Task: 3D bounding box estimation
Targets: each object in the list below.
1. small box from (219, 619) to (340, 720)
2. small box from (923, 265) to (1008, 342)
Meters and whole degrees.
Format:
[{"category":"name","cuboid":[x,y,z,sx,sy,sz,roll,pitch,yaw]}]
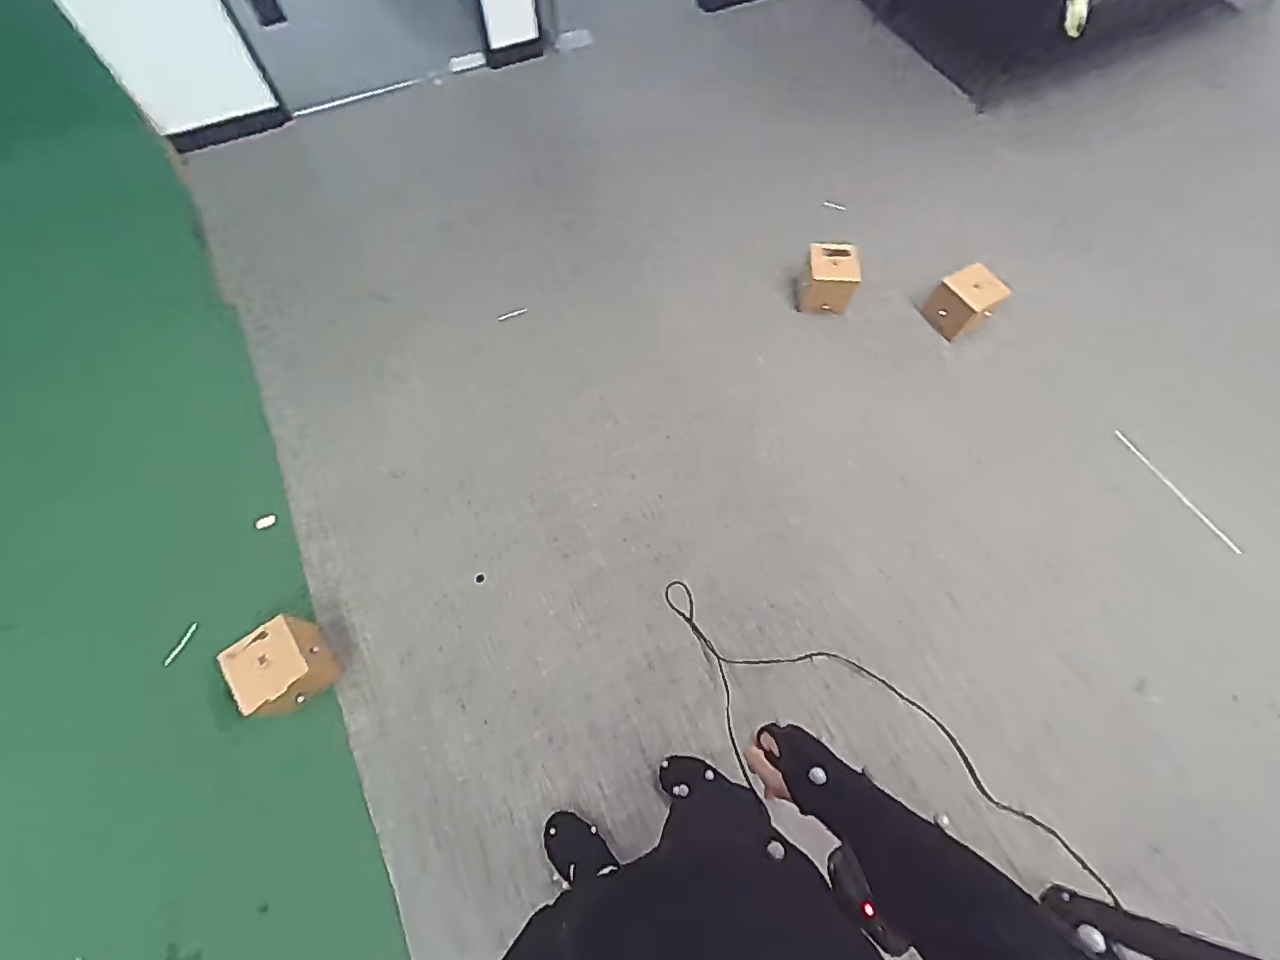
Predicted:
[{"category":"small box","cuboid":[-0.905,0.483,1.373,0.168,0.176,0.179,-35,71,-16]},{"category":"small box","cuboid":[1.152,-0.628,1.940,0.179,0.176,0.168,-28,69,-14]}]
